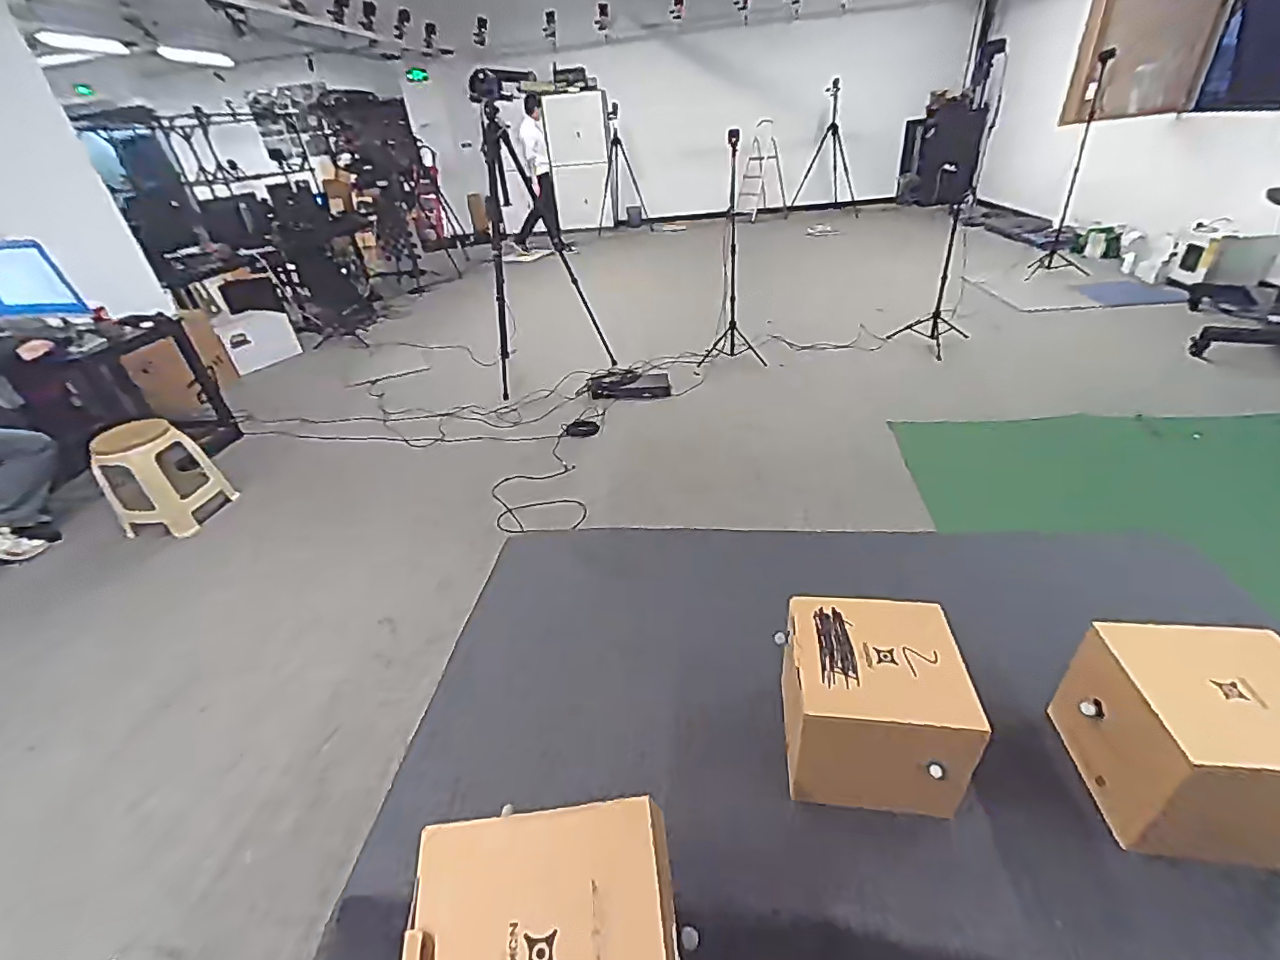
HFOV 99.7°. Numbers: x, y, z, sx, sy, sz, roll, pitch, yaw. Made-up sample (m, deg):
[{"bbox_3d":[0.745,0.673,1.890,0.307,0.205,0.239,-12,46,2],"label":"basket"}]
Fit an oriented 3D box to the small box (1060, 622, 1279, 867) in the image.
[{"bbox_3d":[0.582,0.271,0.564,0.179,0.176,0.168,0,33,9],"label":"small box"}]
